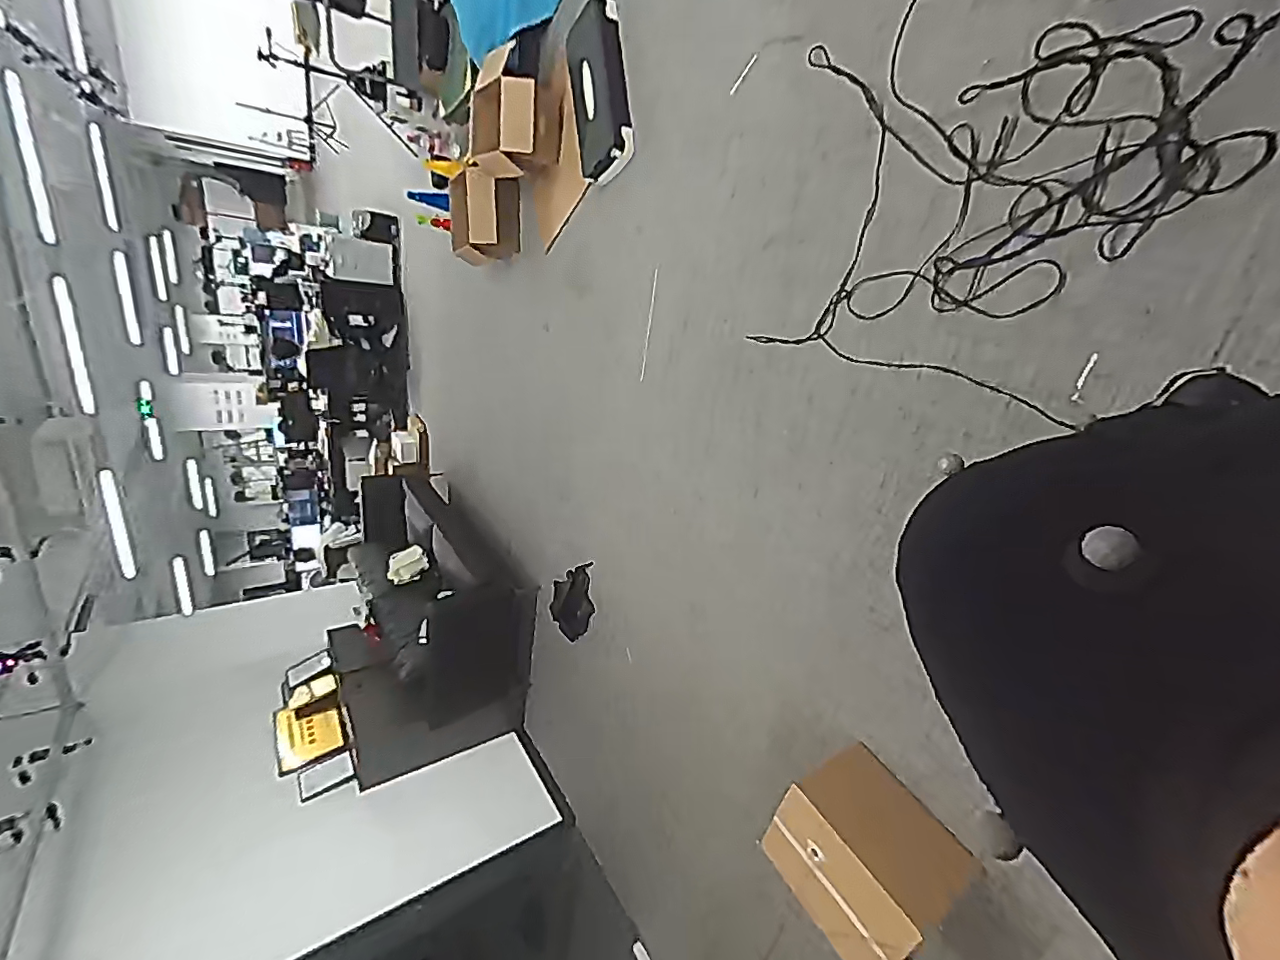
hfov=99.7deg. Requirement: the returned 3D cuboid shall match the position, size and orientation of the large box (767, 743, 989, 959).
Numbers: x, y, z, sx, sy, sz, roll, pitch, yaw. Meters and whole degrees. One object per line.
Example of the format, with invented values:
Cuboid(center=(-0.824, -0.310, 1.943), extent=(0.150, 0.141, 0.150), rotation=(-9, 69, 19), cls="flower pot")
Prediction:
Cuboid(center=(0.636, 1.033, 1.492), extent=(0.408, 0.320, 0.320), rotation=(44, 129, 45), cls="large box")
